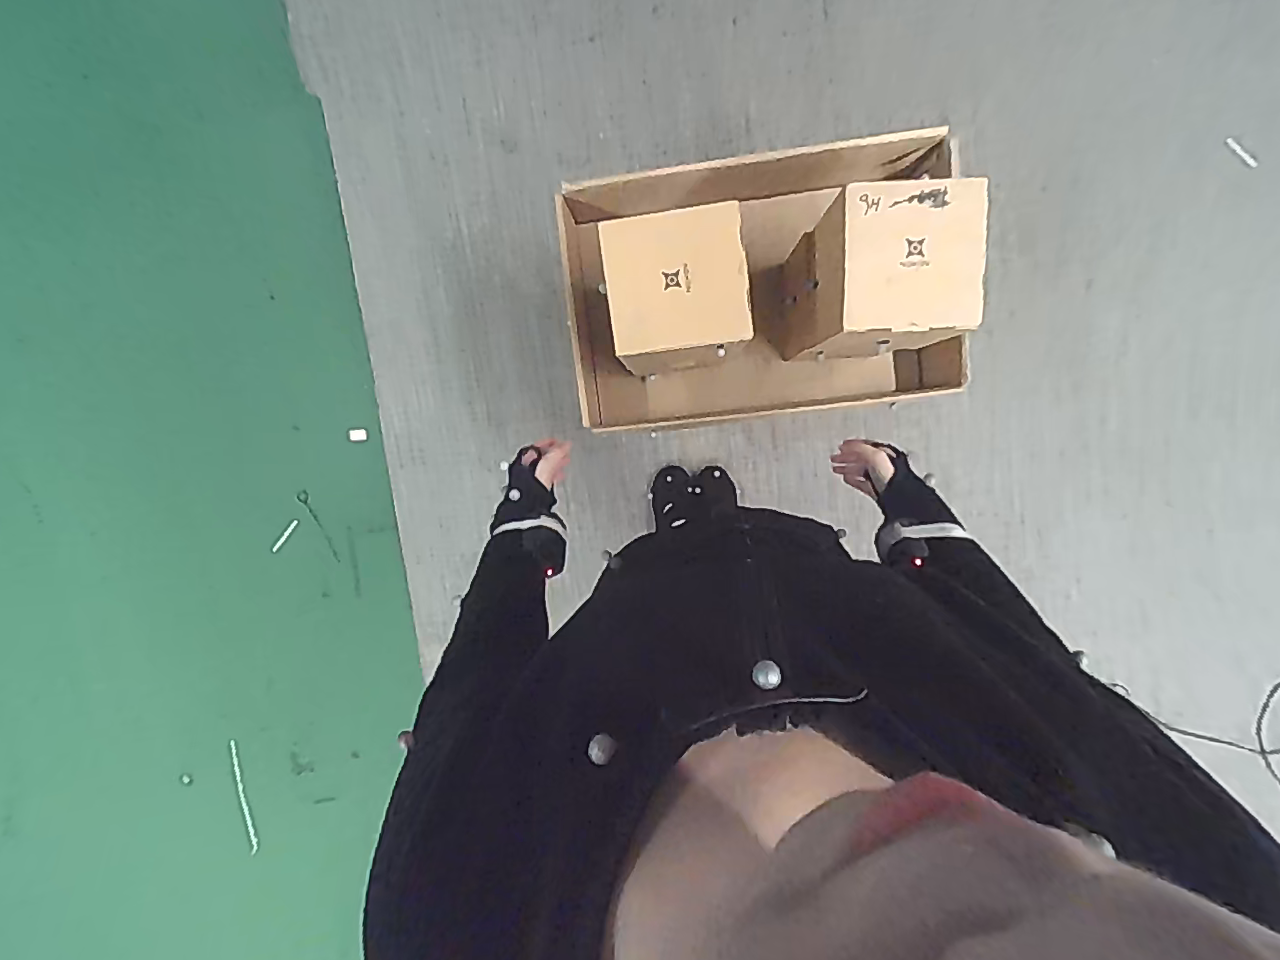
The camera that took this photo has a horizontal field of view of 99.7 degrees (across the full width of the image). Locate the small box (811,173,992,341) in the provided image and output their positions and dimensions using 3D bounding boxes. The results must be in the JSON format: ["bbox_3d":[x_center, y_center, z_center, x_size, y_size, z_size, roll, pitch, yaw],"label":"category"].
[{"bbox_3d":[0.332,-0.281,0.720,0.168,0.176,0.179,0,97,4],"label":"small box"}]

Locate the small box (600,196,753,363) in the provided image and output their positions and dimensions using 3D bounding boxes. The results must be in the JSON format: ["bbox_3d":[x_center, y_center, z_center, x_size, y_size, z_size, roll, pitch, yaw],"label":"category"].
[{"bbox_3d":[0.051,-0.261,0.746,0.179,0.176,0.168,-7,96,4],"label":"small box"}]
